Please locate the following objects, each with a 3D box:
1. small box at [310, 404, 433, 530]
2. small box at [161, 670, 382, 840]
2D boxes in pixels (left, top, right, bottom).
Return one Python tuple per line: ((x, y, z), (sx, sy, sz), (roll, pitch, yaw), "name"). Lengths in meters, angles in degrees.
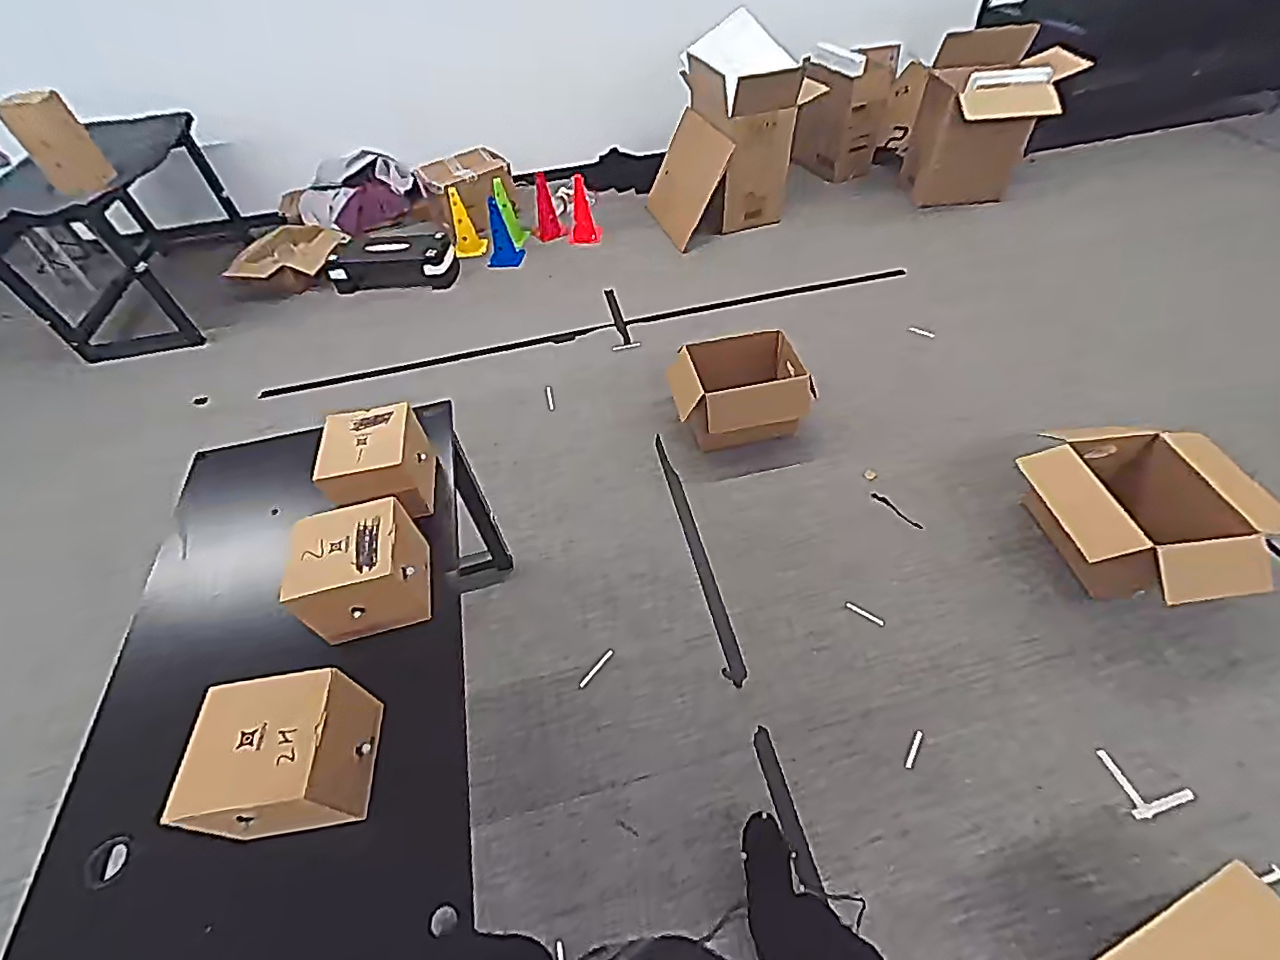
((-0.538, -0.025, 1.110), (0.168, 0.176, 0.179), (-12, 52, -4), "small box")
((-0.497, 0.392, 0.764), (0.179, 0.176, 0.168), (-9, 51, -3), "small box")
